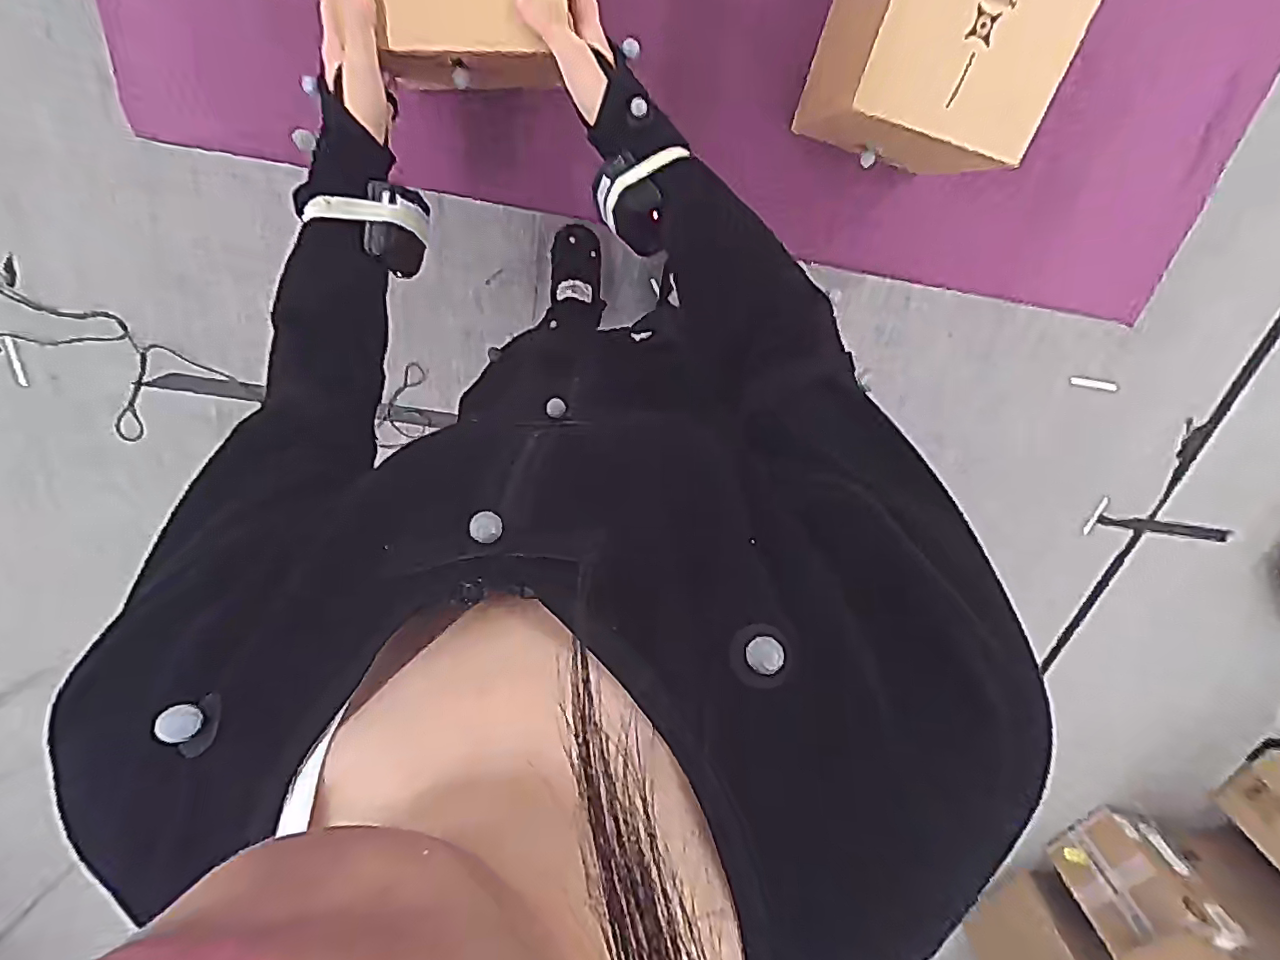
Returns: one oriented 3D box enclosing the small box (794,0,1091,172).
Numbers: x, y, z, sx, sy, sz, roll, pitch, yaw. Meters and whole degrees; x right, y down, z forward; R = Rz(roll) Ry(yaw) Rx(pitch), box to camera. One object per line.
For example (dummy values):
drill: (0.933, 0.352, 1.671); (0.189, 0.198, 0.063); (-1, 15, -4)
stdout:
small box: (0.265, -0.407, 0.501); (0.168, 0.176, 0.179); (12, 116, -10)

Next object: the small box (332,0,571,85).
small box: (-0.149, -0.445, 0.452); (0.179, 0.176, 0.168); (-2, 119, -3)
